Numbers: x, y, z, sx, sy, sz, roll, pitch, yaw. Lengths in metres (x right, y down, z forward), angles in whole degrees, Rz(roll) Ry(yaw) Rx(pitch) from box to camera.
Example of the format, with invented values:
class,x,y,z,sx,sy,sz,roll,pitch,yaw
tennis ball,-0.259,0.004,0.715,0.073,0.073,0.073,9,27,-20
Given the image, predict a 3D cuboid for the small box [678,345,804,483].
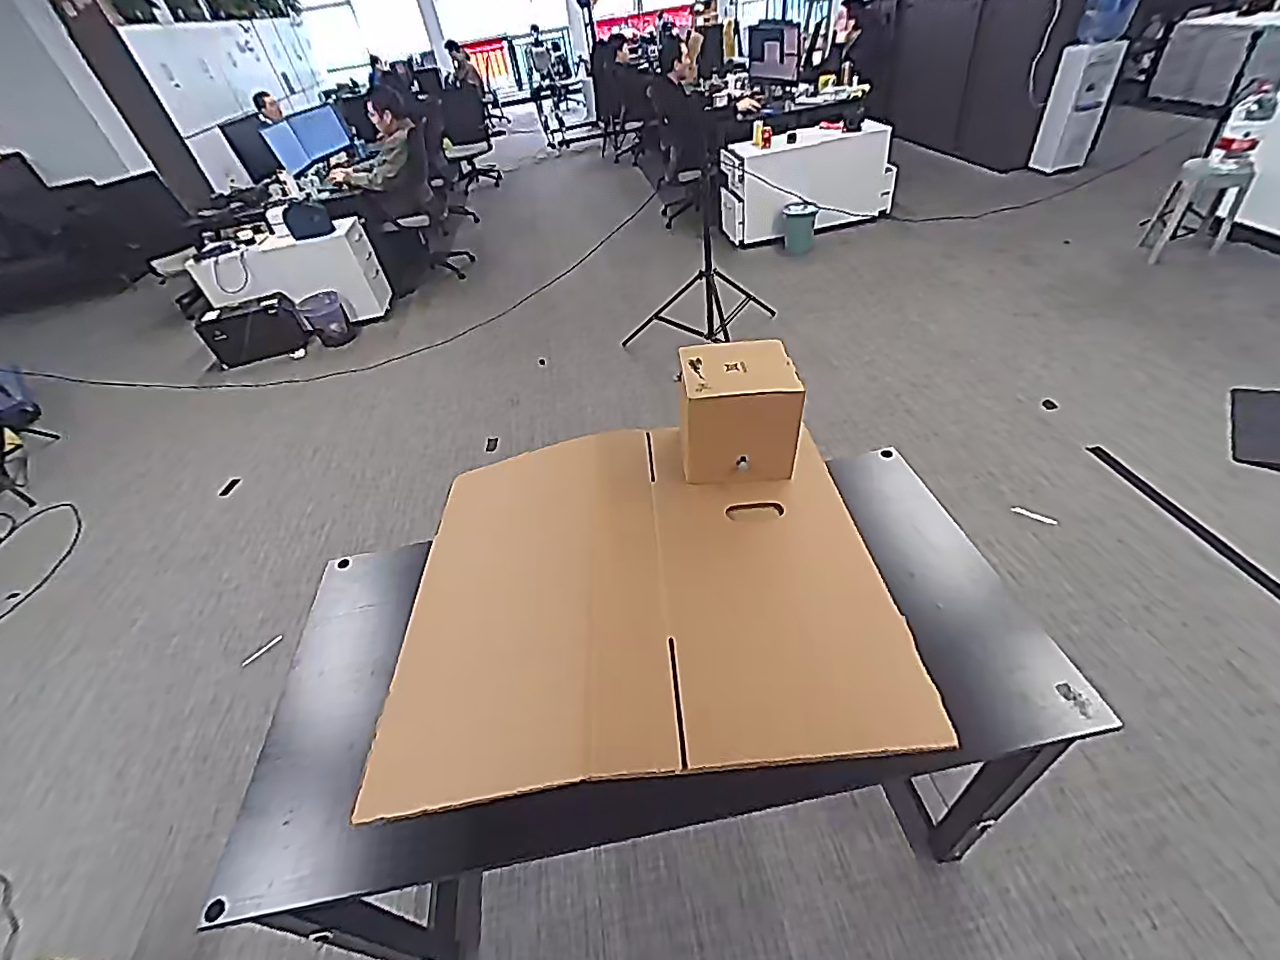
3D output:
class,x,y,z,sx,sy,sz,roll,pitch,yaw
small box,0.157,-0.109,0.909,0.179,0.176,0.168,-3,40,0
